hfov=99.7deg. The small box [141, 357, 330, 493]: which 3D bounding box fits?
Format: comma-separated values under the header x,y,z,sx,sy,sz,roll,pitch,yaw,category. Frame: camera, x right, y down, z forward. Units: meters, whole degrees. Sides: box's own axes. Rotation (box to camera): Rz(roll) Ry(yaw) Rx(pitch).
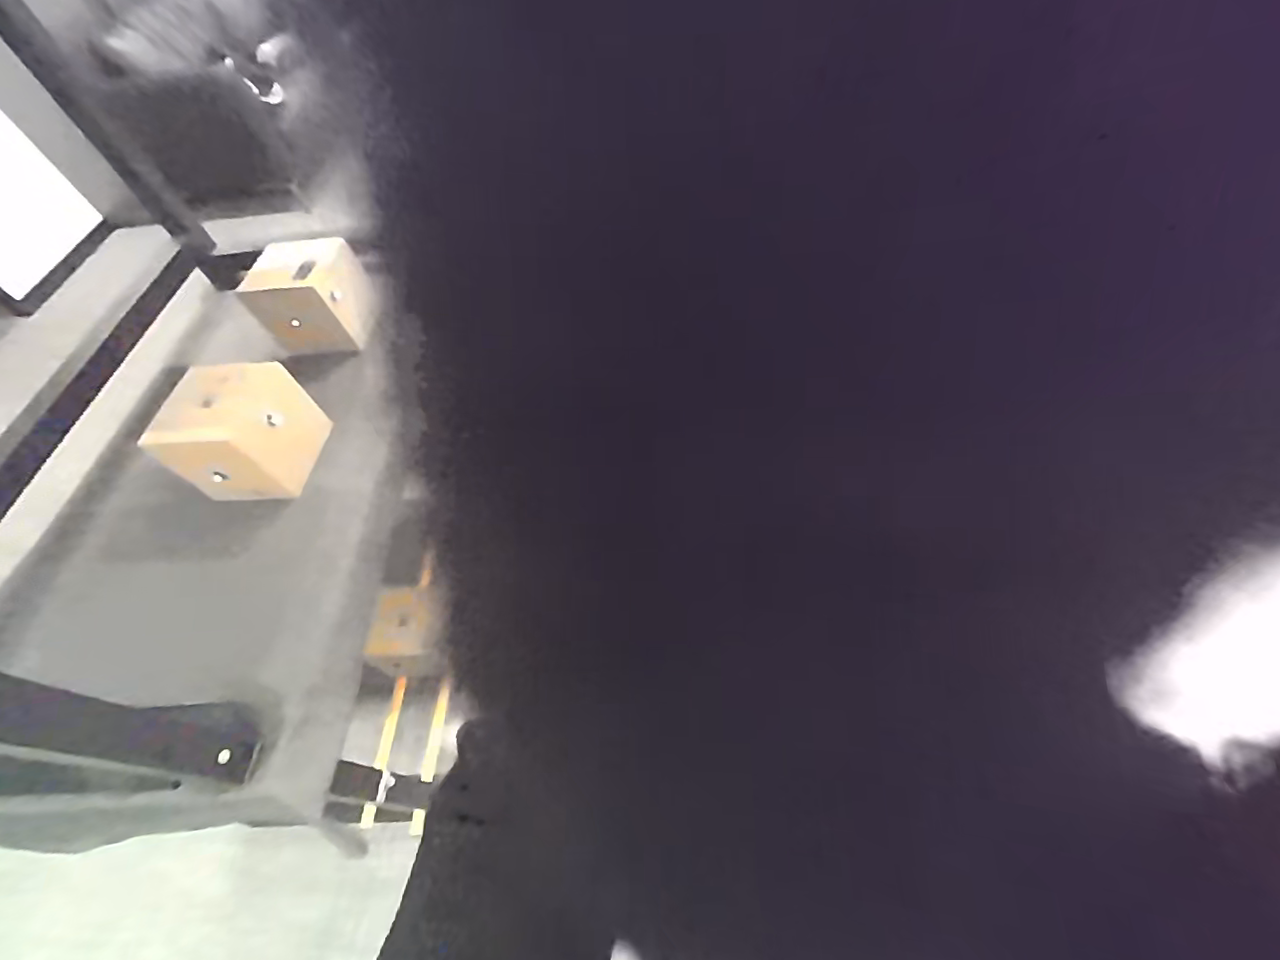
x,y,z,sx,sy,sz,roll,pitch,yaw,category
-0.681,-0.089,0.938,0.168,0.176,0.179,-1,55,6,small box
